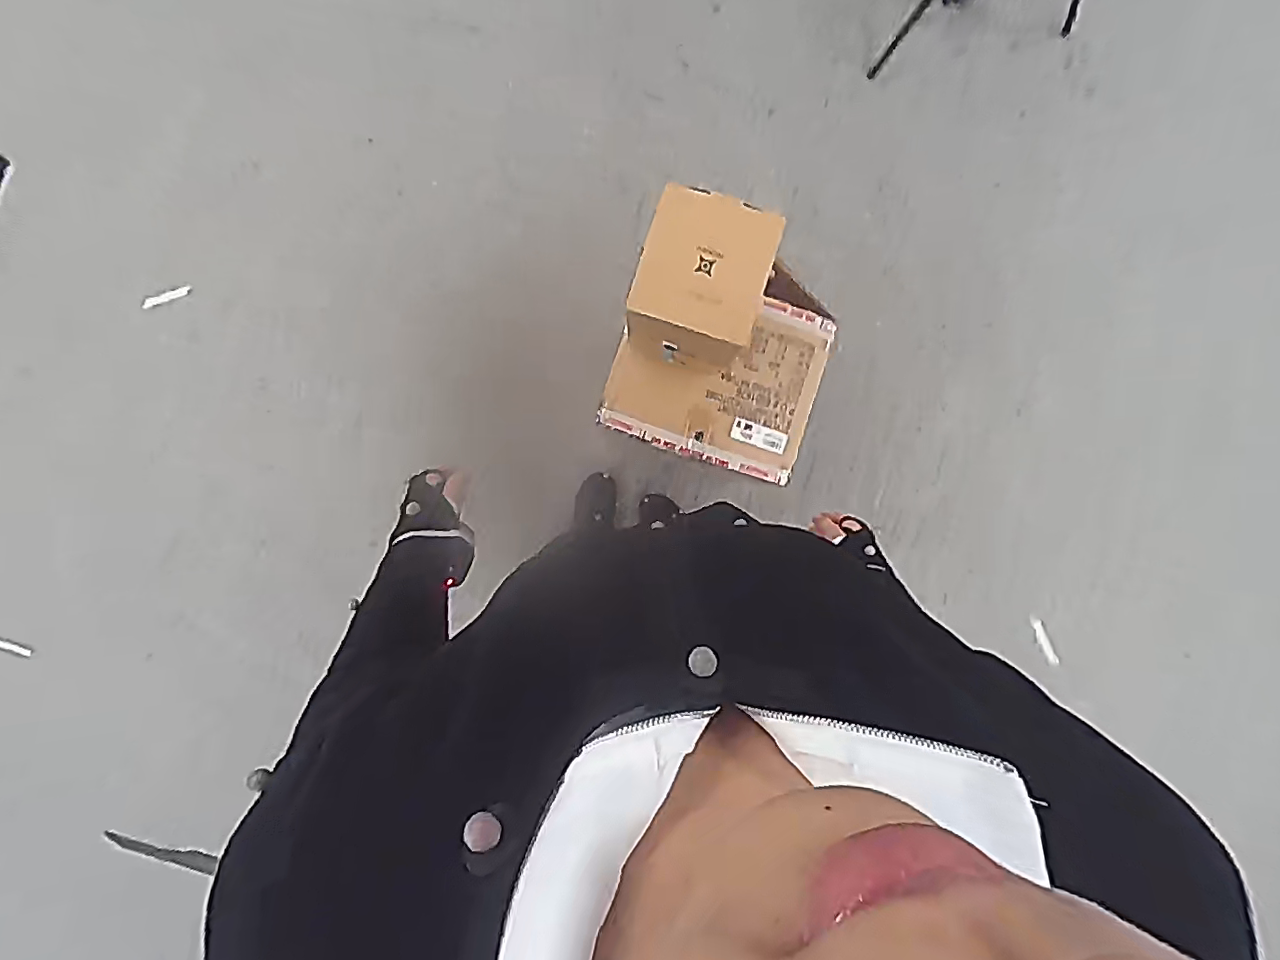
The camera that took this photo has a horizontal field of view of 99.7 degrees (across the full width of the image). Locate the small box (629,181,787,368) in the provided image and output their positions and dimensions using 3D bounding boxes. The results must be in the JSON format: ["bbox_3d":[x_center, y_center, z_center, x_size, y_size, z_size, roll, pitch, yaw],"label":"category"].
[{"bbox_3d":[0.087,-0.278,0.771,0.168,0.176,0.179,18,92,0],"label":"small box"}]

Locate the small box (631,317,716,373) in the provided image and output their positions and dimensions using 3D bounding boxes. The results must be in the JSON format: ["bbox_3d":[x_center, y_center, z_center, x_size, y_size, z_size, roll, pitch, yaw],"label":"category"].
[{"bbox_3d":[0.086,-0.303,0.933,0.168,0.176,0.179,18,91,0],"label":"small box"}]
